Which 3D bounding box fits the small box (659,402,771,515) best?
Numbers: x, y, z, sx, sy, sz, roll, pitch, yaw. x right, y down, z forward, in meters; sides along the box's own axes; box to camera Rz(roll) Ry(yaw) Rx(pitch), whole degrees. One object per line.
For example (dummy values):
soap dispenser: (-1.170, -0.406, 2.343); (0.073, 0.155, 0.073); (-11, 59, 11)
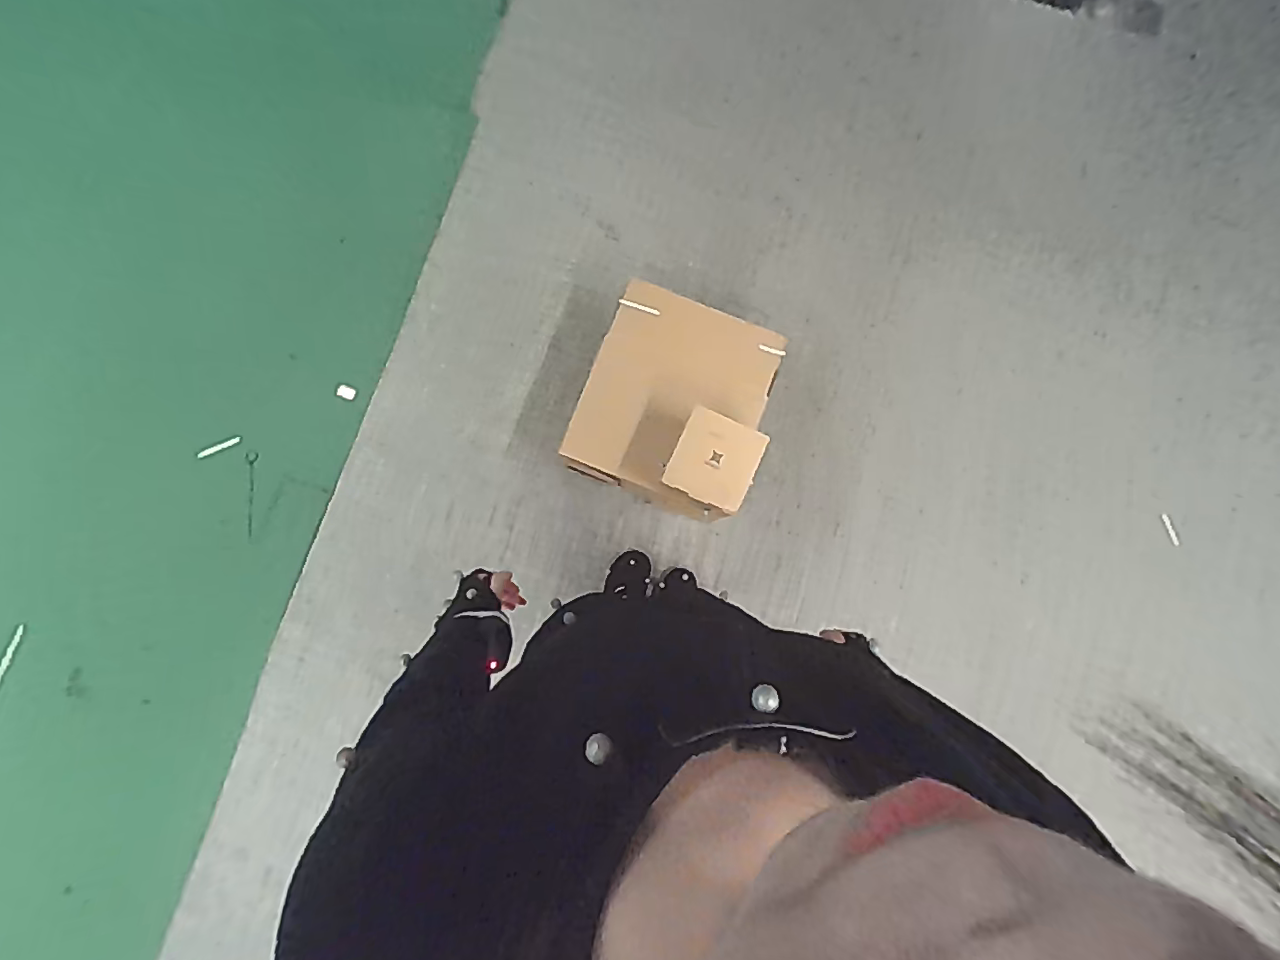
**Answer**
small box: (0.148, -0.036, 1.136); (0.168, 0.176, 0.179); (25, 83, -1)
